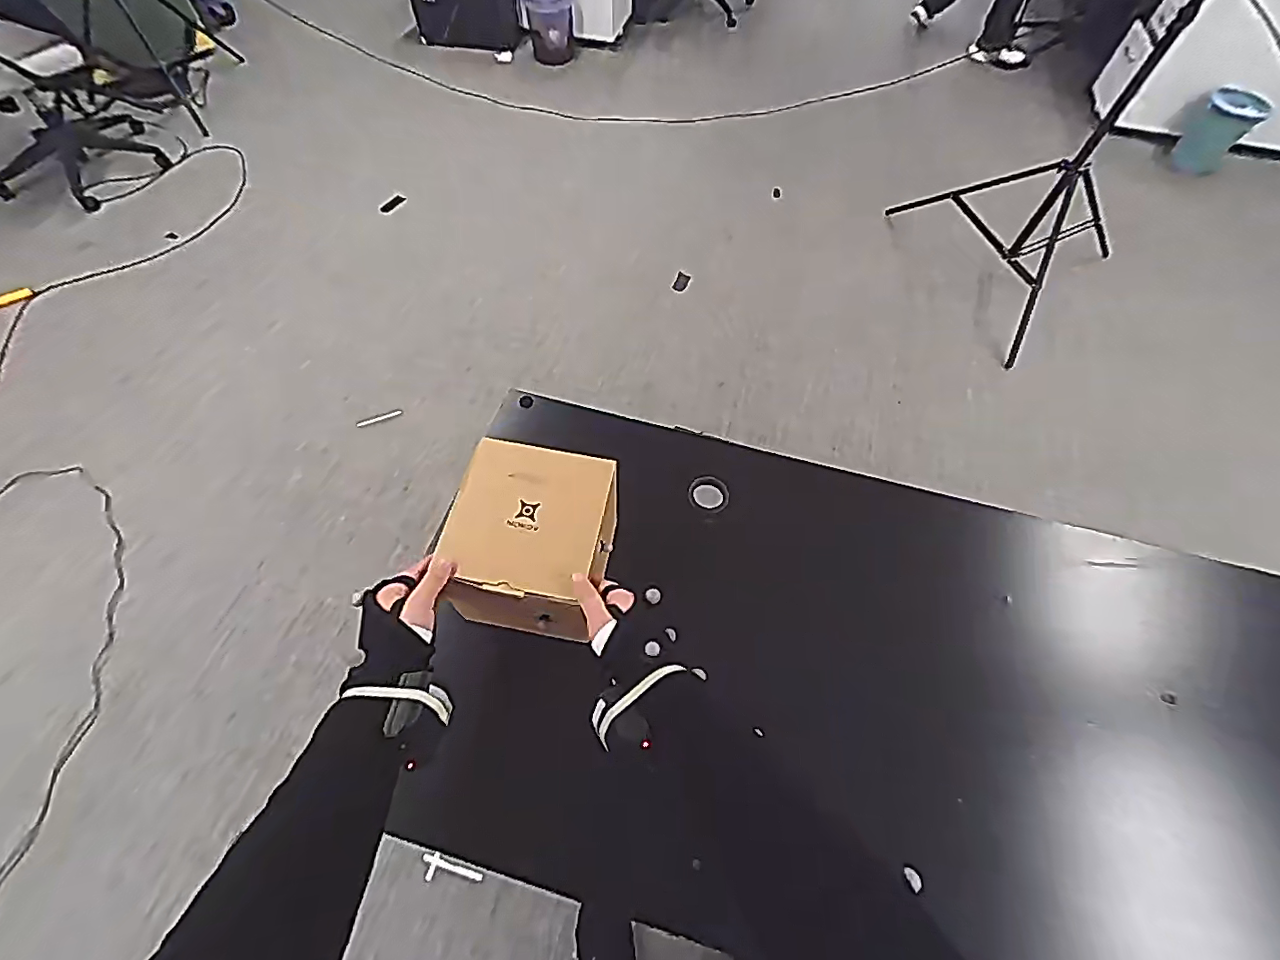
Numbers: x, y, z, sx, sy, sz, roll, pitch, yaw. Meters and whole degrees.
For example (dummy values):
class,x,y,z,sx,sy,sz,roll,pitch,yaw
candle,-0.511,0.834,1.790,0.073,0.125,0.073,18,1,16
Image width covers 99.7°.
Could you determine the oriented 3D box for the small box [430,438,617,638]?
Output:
class,x,y,z,sx,sy,sz,roll,pitch,yaw
small box,-0.122,0.077,0.653,0.168,0.176,0.179,10,59,2
